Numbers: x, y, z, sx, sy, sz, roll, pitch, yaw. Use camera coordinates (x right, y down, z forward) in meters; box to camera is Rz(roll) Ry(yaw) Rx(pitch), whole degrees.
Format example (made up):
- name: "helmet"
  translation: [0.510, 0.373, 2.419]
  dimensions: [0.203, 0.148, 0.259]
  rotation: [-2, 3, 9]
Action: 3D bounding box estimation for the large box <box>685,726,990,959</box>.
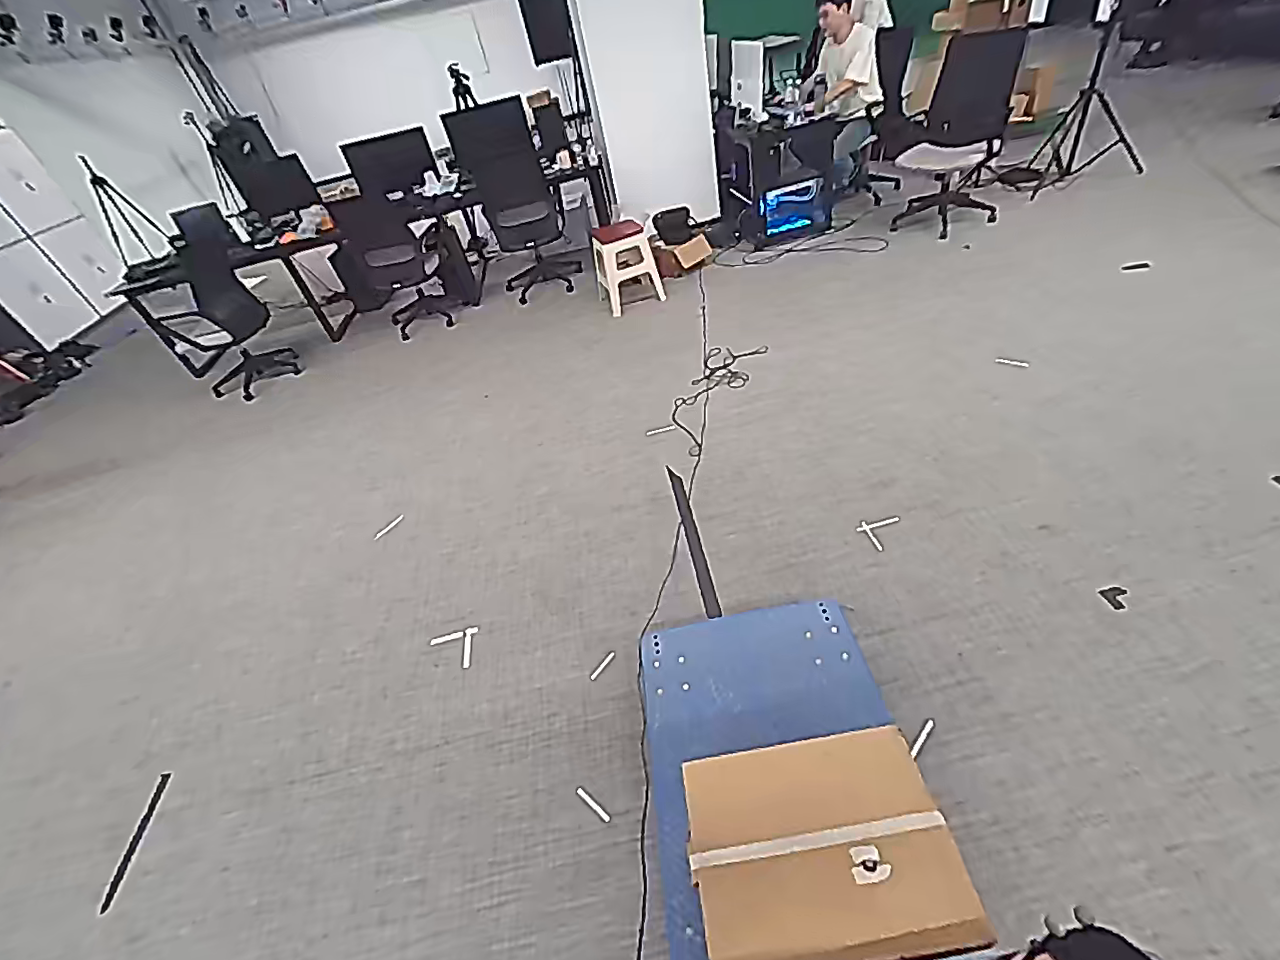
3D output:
- name: "large box"
  translation: [0.320, 0.704, 0.984]
  dimensions: [0.408, 0.320, 0.320]
  rotation: [-12, 41, 3]
